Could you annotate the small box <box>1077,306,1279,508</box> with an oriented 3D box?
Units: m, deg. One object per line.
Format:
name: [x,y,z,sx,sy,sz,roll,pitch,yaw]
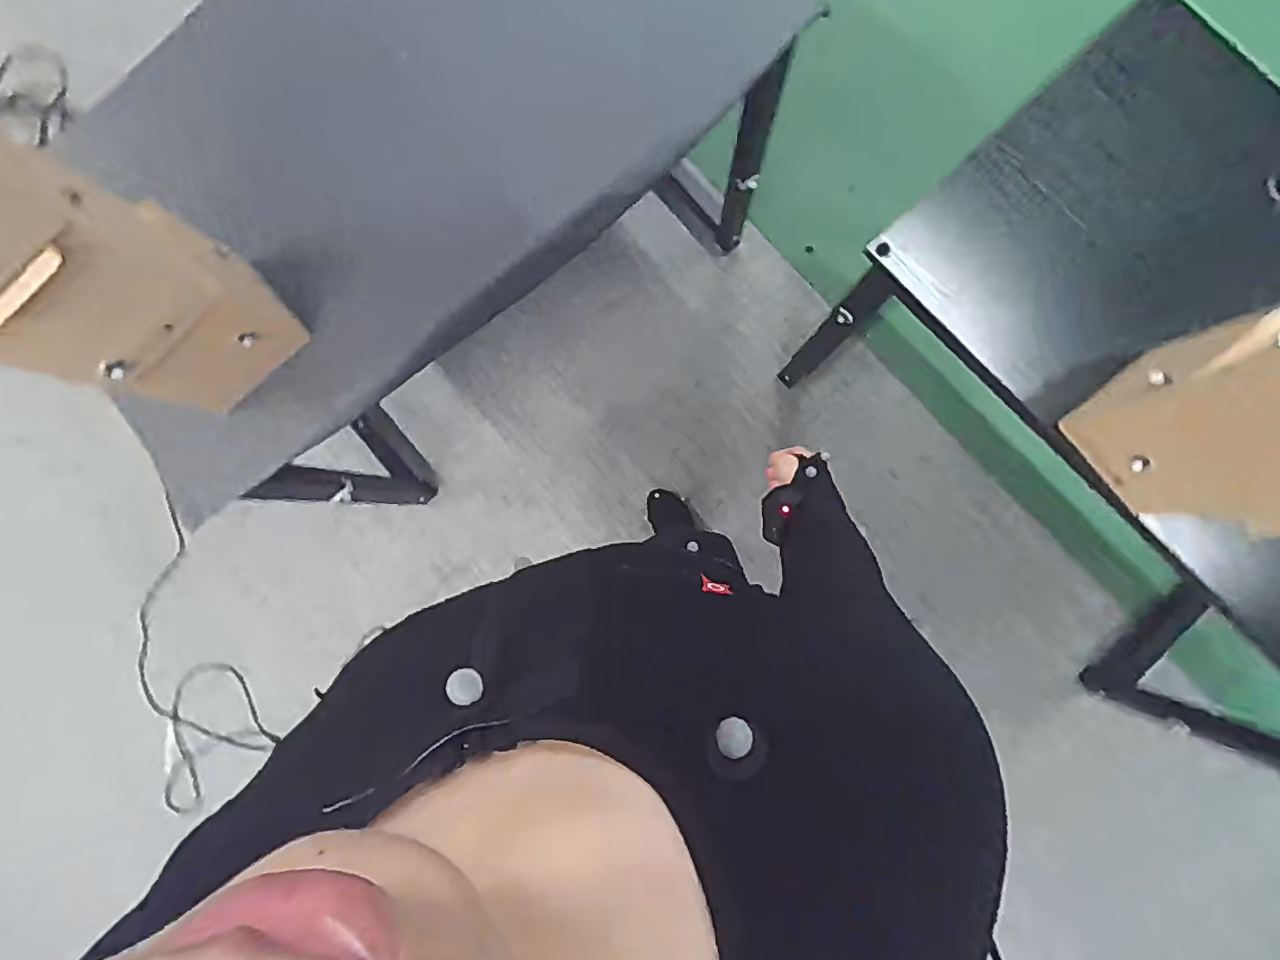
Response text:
small box: [0.703,-0.075,0.674,0.179,0.176,0.168,-39,86,0]

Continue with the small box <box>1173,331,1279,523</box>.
small box: [0.690,-0.062,0.511,0.168,0.176,0.179,-31,85,0]

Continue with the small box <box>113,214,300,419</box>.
small box: [-0.611,-0.209,0.739,0.179,0.176,0.168,-43,83,0]
